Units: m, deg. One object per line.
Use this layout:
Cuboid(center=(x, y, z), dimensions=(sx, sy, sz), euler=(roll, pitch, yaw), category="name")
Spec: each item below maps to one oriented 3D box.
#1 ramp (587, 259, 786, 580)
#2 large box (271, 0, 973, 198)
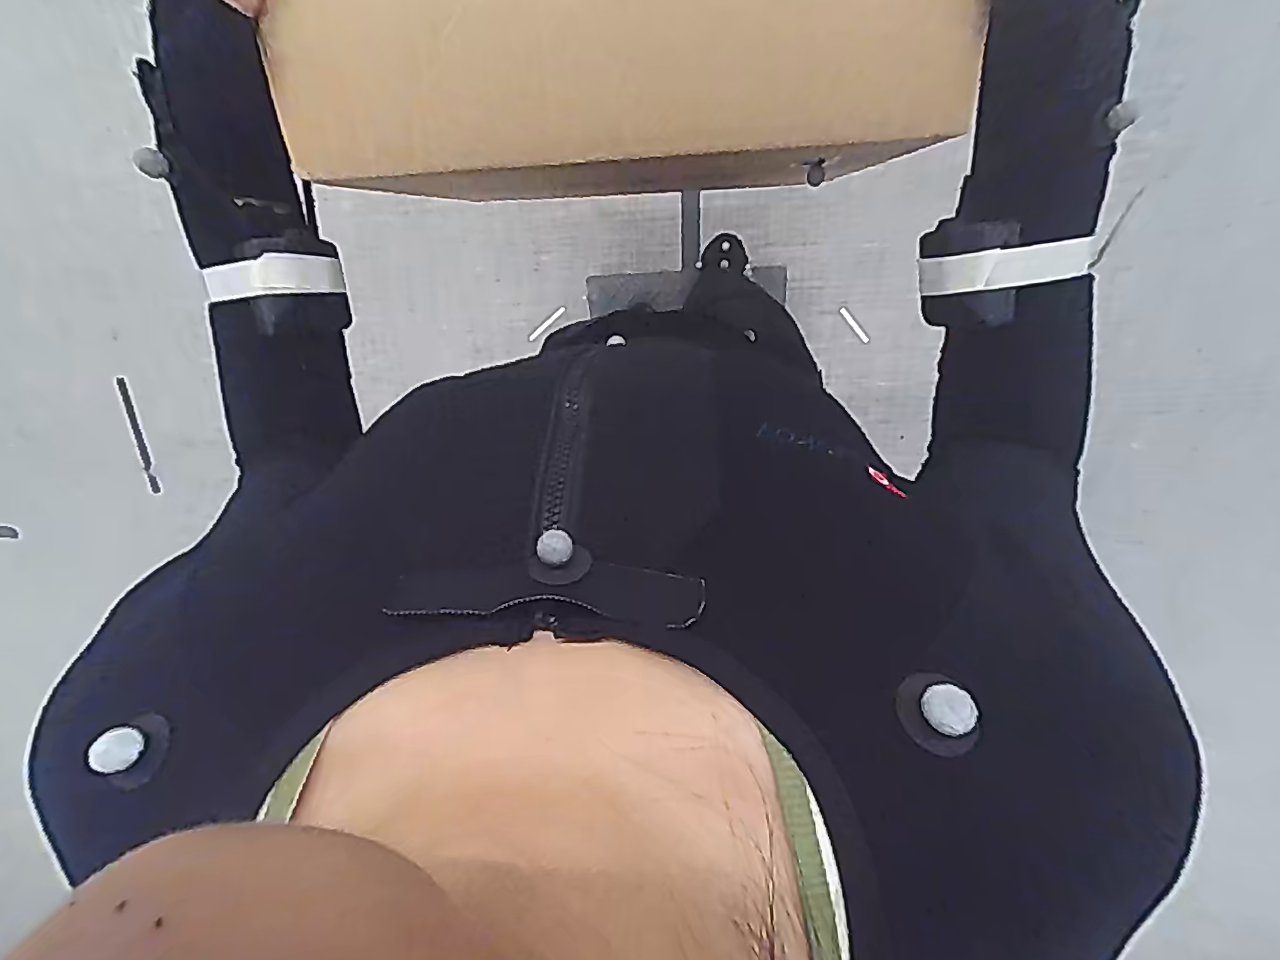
Cuboid(center=(0.144, -0.098, 1.563), dimensions=(0.509, 0.206, 0.991), euler=(-2, 110, 6), category="ramp")
Cuboid(center=(-0.009, -0.403, 0.407), dimensions=(0.408, 0.320, 0.320), euler=(-1, 114, 5), category="large box")
